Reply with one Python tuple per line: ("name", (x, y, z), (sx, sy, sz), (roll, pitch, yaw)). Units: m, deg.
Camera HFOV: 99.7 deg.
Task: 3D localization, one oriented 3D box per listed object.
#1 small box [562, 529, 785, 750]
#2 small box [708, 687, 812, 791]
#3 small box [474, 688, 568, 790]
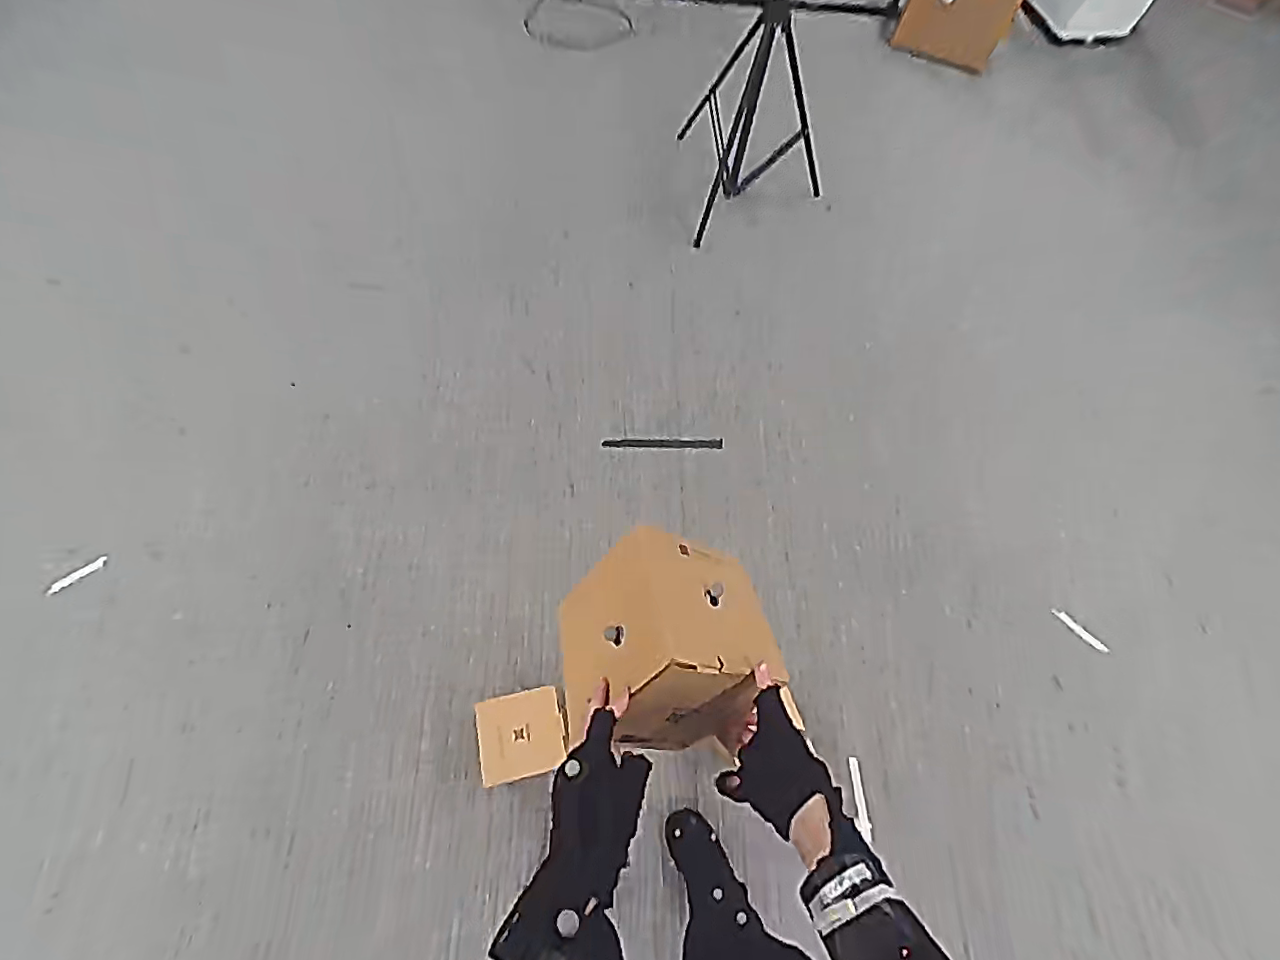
("small box", (0.024, 0.183, 0.615), (0.168, 0.179, 0.176), (23, 34, -32))
("small box", (0.257, 0.590, 1.237), (0.179, 0.176, 0.168), (-15, 68, -12))
("small box", (-0.259, 0.571, 1.204), (0.179, 0.176, 0.168), (-11, 66, -8))
